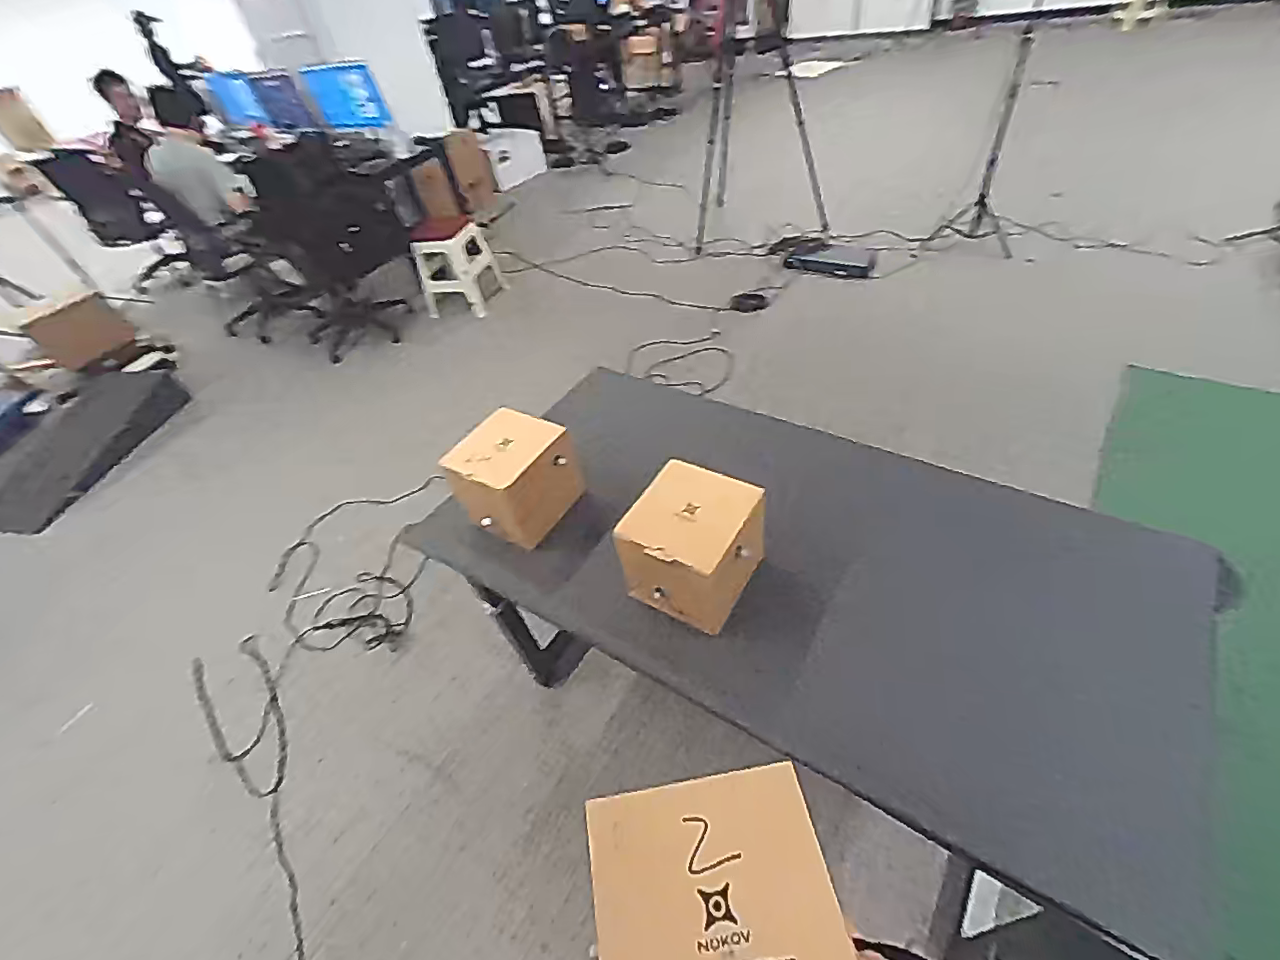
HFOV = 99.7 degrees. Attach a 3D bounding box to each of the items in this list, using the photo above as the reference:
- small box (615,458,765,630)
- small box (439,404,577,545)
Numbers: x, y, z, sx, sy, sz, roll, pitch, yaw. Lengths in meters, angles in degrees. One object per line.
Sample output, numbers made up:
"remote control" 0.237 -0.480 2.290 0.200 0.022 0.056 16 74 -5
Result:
"small box" 0.082 0.101 0.856 0.168 0.176 0.179 21 54 27
"small box" -0.235 -0.011 1.020 0.168 0.176 0.179 20 53 27
